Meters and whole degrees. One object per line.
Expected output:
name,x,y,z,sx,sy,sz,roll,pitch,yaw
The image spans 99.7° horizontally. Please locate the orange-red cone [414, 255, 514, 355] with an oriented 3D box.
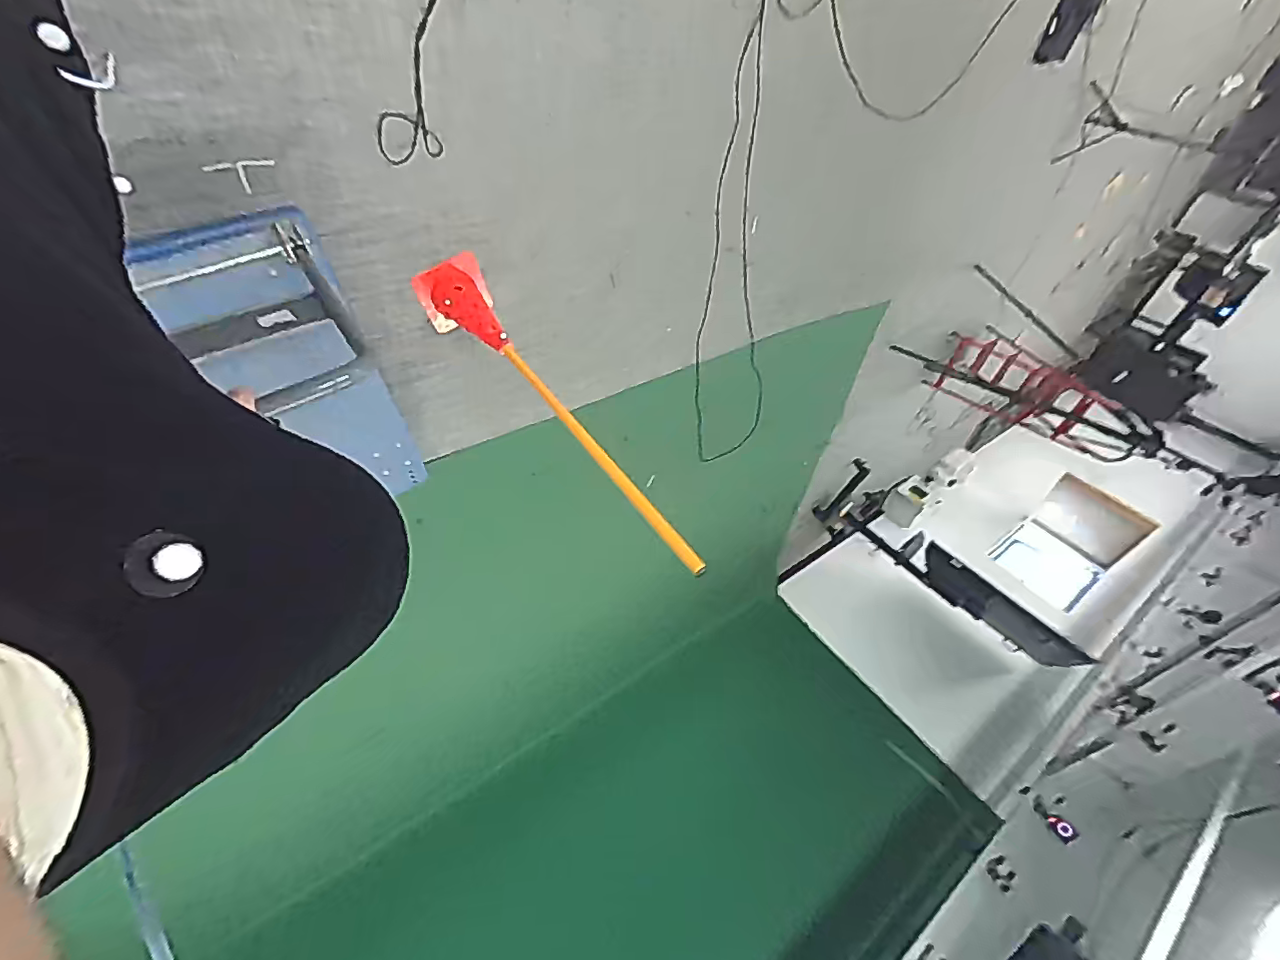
orange-red cone,-0.461,-0.461,1.550,0.199,0.360,0.198,-35,148,-16
